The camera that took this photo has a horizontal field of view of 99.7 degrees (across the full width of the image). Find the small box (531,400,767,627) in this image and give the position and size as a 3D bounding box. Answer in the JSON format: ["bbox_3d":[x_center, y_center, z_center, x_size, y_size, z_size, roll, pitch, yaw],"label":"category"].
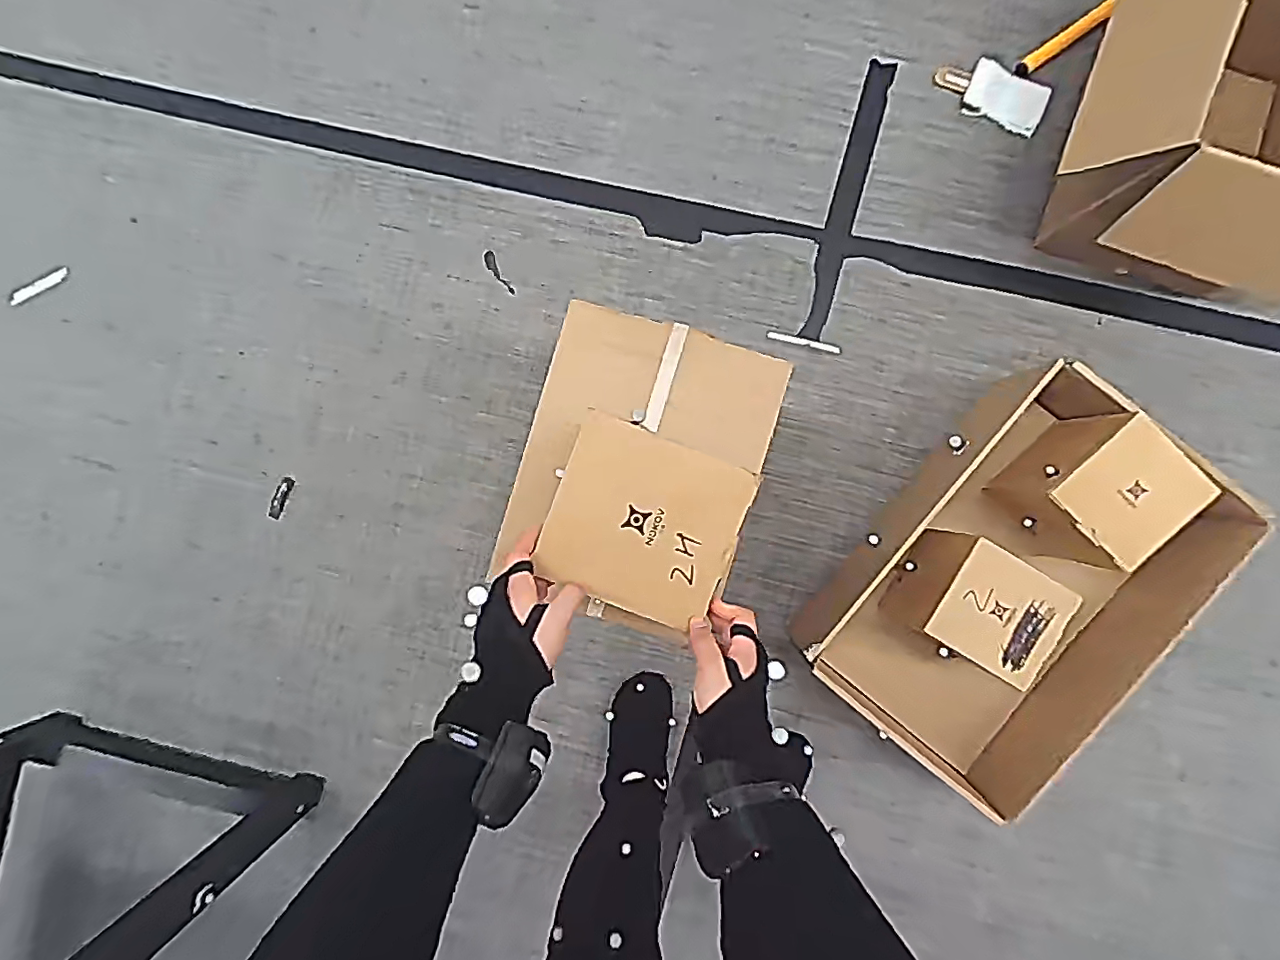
[{"bbox_3d":[0.006,0.027,0.578,0.179,0.176,0.168,22,94,-4],"label":"small box"}]

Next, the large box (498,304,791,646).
[{"bbox_3d":[0.011,-0.012,0.872,0.320,0.320,0.408,16,92,4],"label":"large box"}]
